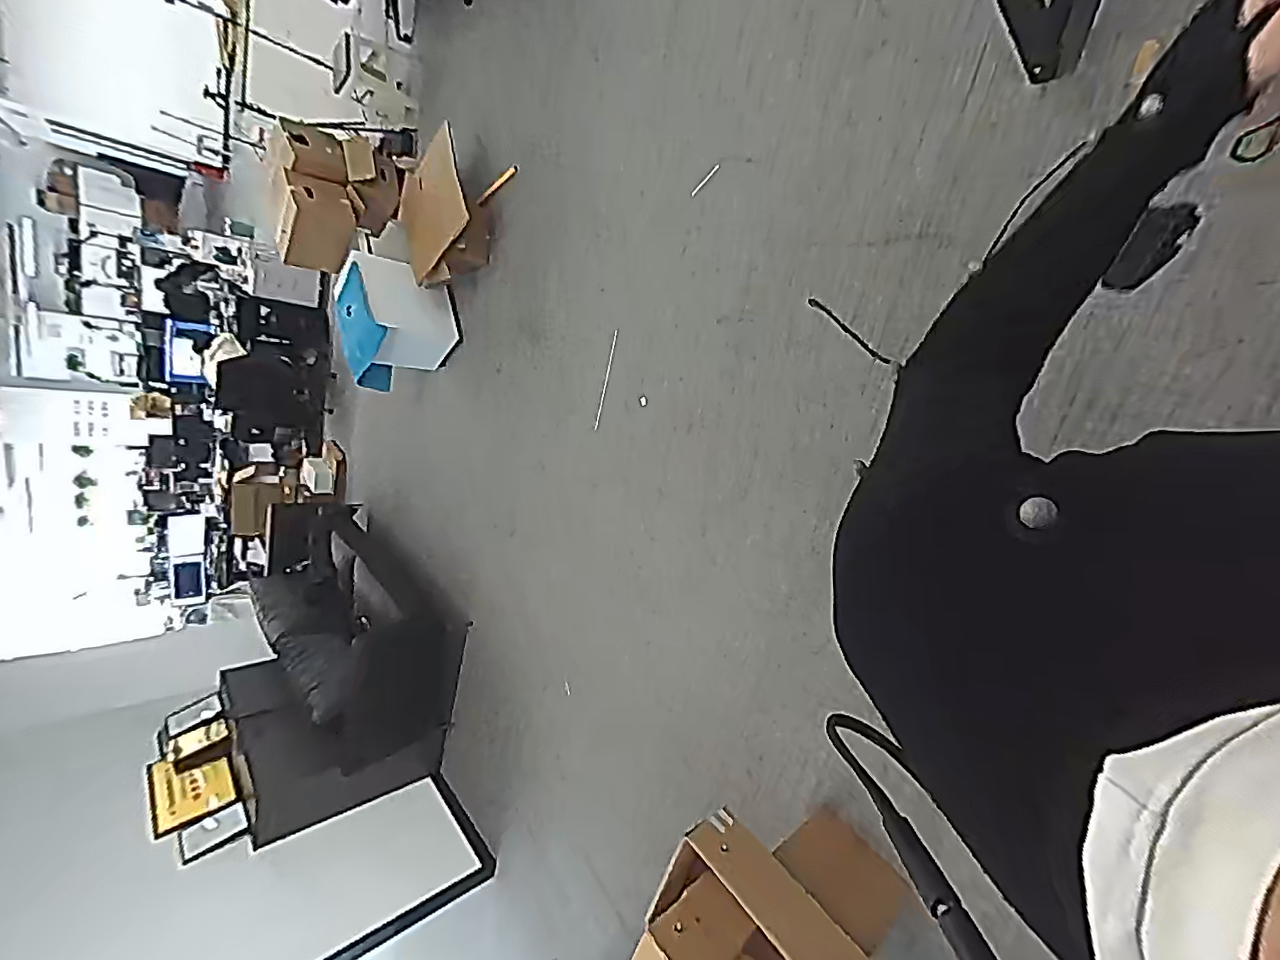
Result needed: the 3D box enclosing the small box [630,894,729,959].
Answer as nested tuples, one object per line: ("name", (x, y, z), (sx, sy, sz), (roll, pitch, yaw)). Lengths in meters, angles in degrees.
("small box", (0.101, 1.218, 1.377), (0.168, 0.176, 0.179), (35, 115, 40))
